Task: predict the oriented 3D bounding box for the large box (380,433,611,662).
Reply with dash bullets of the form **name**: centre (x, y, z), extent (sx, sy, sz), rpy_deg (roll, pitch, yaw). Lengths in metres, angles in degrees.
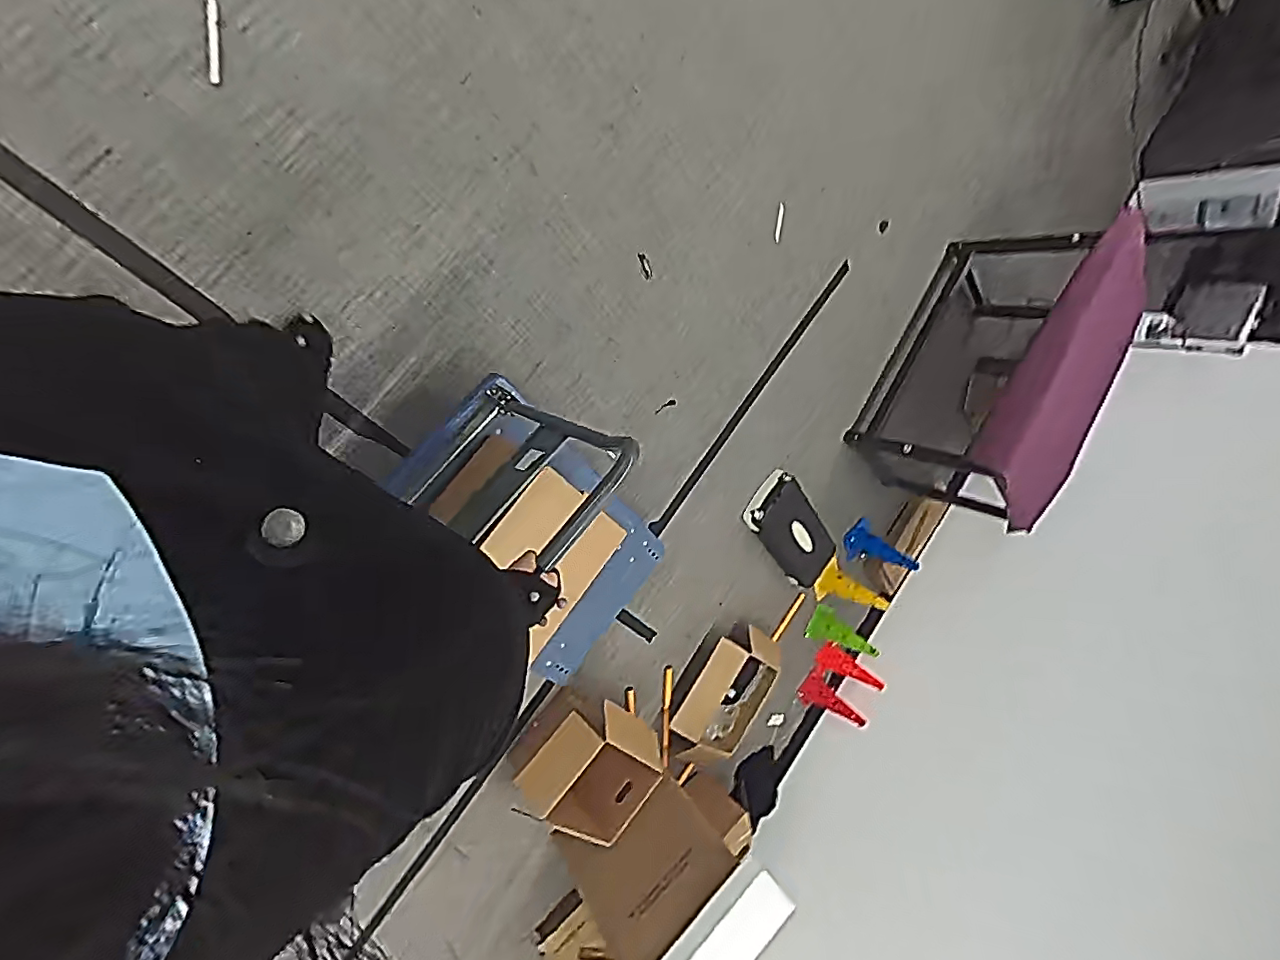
- **large box**: centre (-0.354, 0.154, 1.333), extent (0.408, 0.320, 0.320), rpy_deg (-53, 130, -9)
